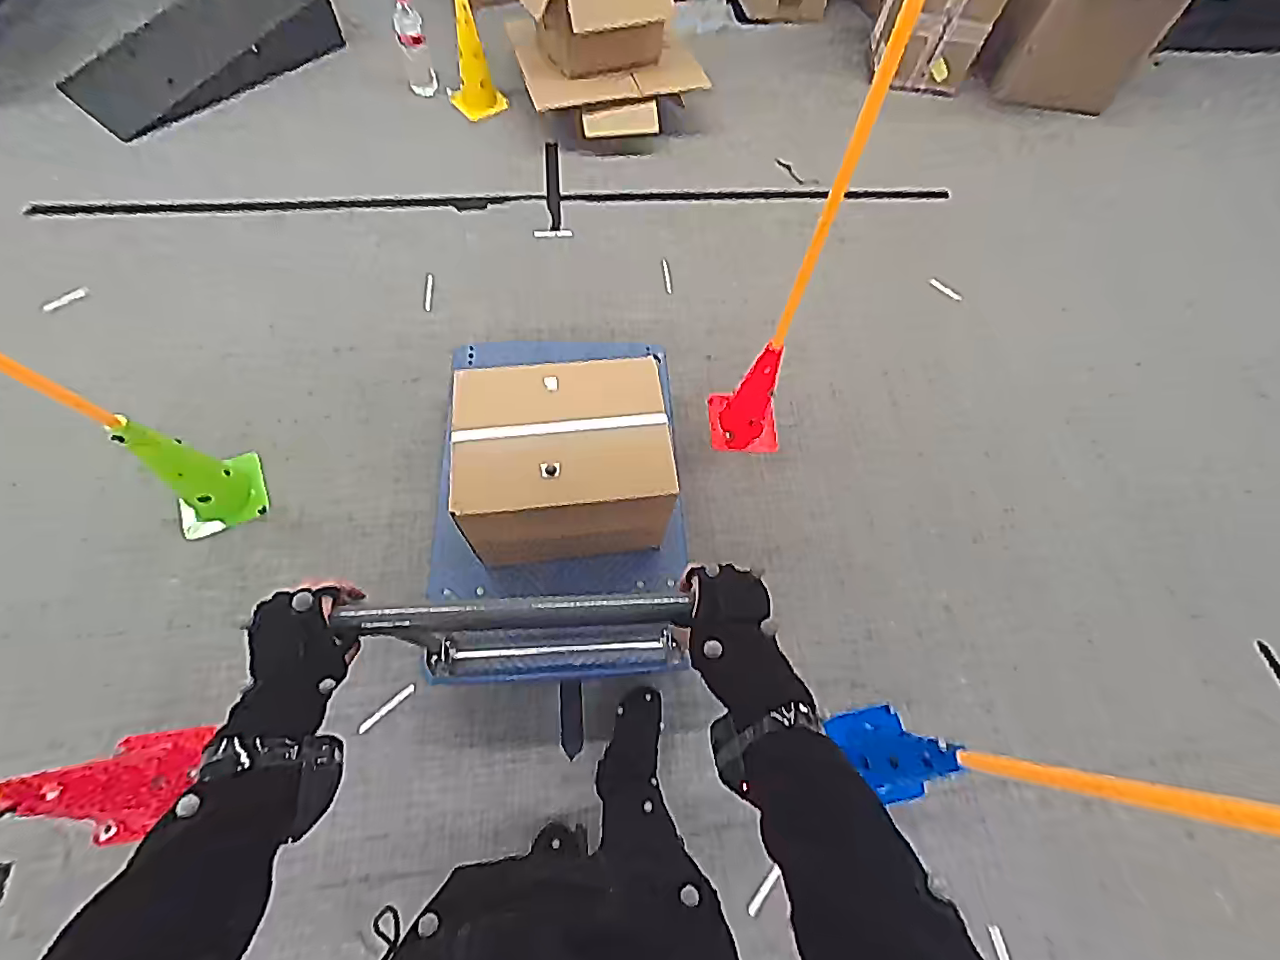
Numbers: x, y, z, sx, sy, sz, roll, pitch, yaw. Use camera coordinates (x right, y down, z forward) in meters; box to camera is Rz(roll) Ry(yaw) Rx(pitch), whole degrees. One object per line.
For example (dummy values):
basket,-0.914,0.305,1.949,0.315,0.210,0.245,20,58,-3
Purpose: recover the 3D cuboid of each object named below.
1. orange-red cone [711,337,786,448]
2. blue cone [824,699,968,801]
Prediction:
orange-red cone,0.325,-0.258,1.467,0.199,0.360,0.198,2,64,-4
blue cone,0.548,0.547,1.104,0.193,0.380,0.192,-7,63,-8
